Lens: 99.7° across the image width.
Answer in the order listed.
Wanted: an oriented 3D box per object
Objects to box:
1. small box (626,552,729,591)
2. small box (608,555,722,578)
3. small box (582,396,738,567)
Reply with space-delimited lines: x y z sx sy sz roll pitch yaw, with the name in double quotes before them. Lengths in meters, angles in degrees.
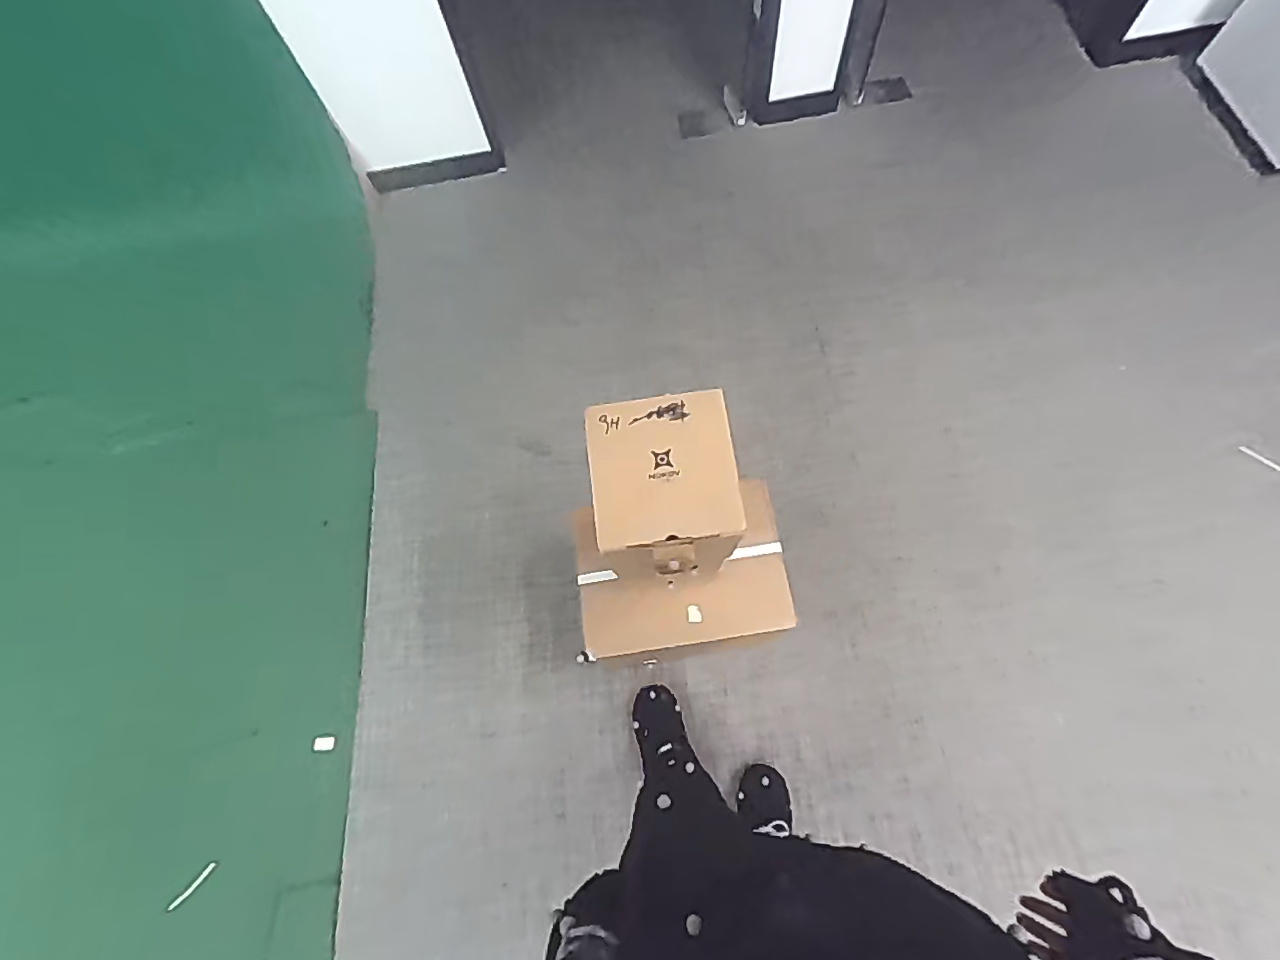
"small box" 0.056 0.108 1.005 0.179 0.176 0.168 -10 74 1
"small box" 0.034 0.057 0.852 0.168 0.176 0.179 -7 72 2
"small box" 0.027 0.014 0.695 0.168 0.176 0.179 -8 74 2
